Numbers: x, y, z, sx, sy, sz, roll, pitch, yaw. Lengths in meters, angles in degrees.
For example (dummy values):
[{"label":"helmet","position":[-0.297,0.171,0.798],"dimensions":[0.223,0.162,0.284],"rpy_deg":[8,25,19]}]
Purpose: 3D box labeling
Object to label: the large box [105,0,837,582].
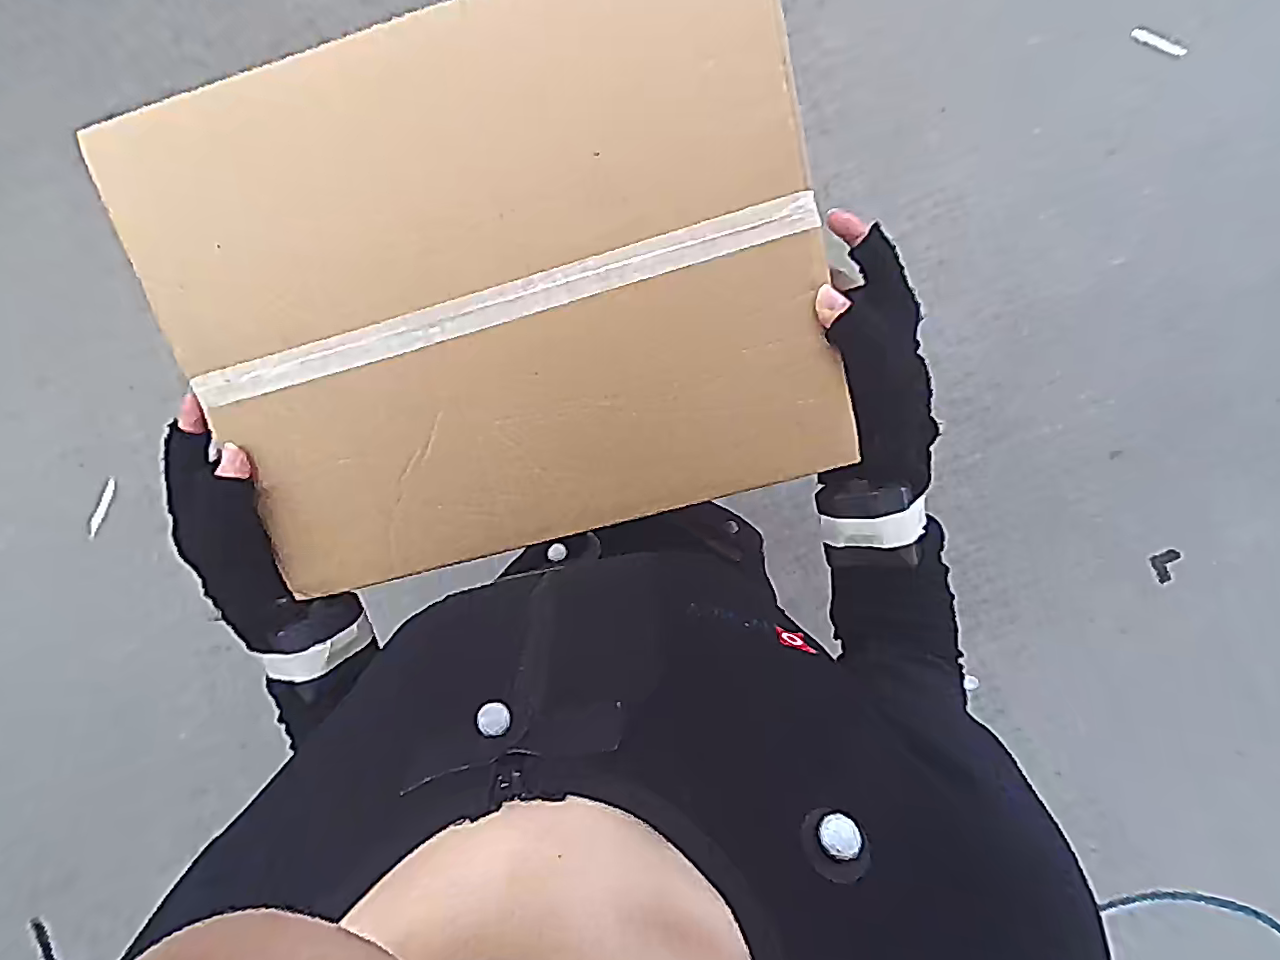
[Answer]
[{"label":"large box","position":[-0.091,-0.155,0.488],"dimensions":[0.408,0.320,0.320],"rpy_deg":[-14,104,5]}]
